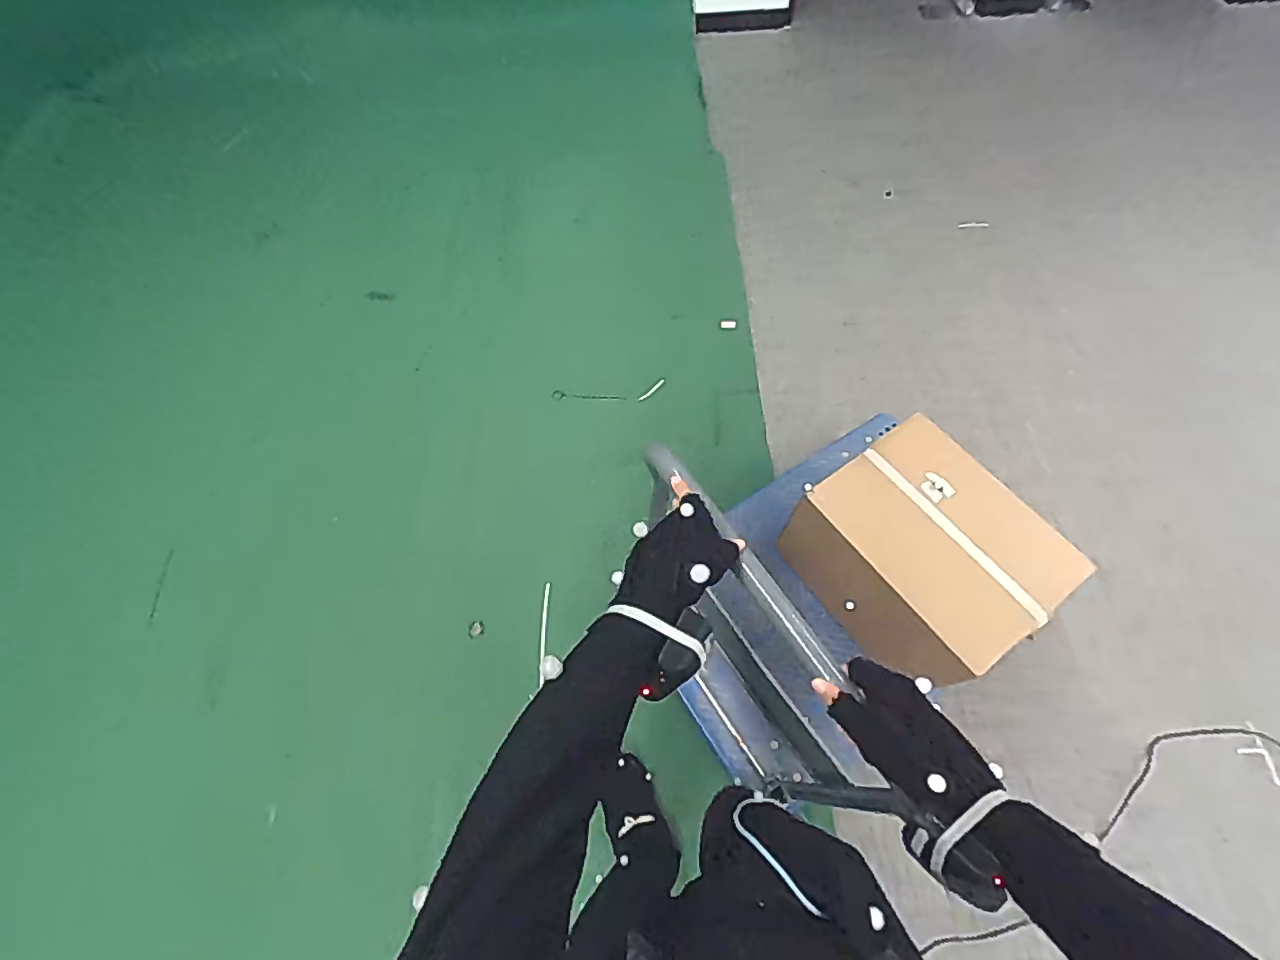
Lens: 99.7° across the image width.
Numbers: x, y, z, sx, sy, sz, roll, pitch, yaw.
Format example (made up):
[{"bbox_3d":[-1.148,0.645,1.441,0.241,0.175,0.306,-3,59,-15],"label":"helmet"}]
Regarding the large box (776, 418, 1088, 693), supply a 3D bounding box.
[{"bbox_3d":[0.545,0.161,1.104,0.320,0.320,0.408,-33,65,-13],"label":"large box"}]
